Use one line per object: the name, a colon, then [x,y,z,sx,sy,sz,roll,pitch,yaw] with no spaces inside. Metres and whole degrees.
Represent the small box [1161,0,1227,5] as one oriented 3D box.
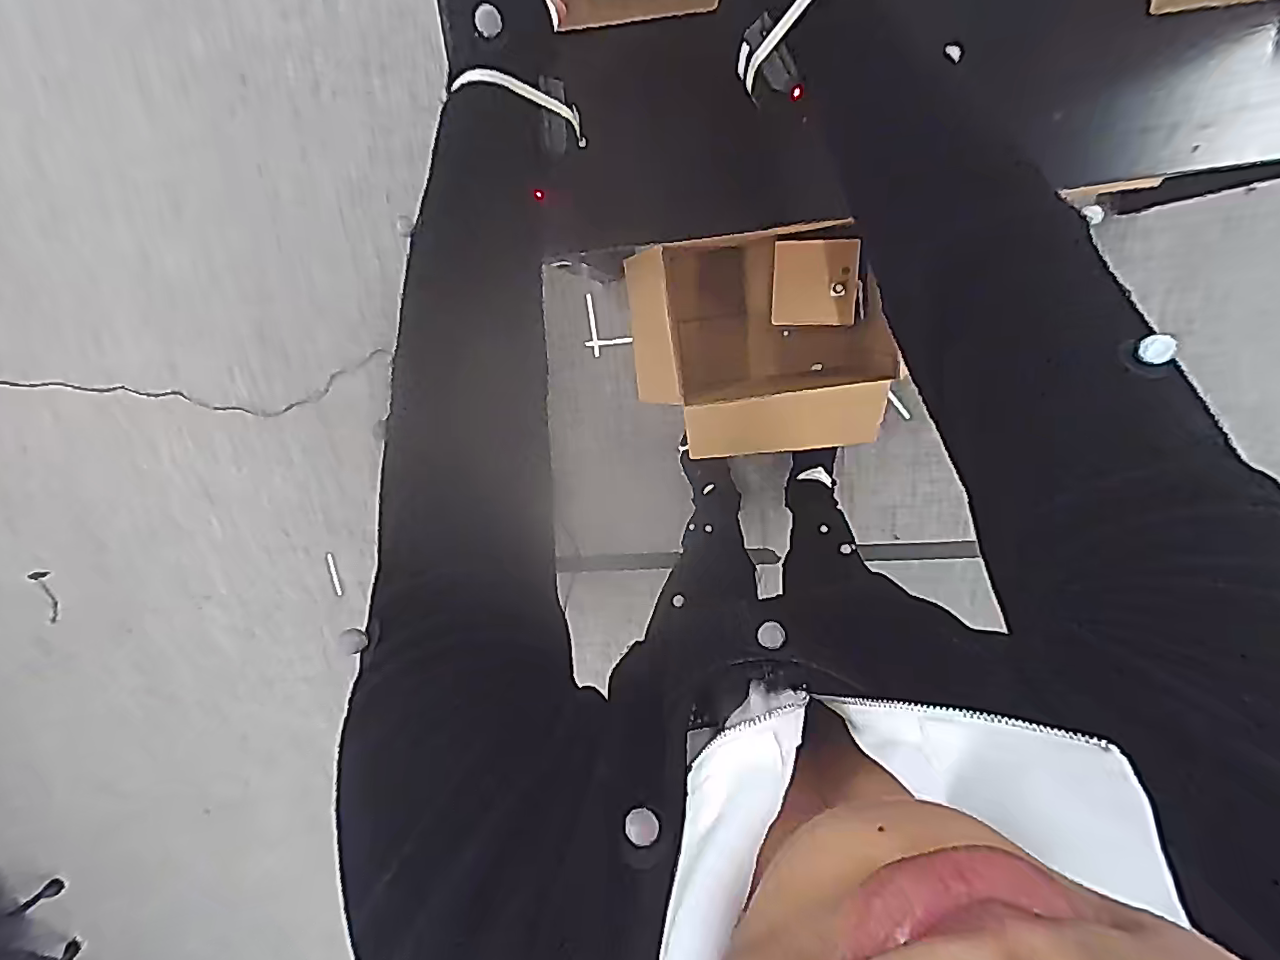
small box: [0.536,-0.485,0.385,0.179,0.176,0.168,-3,107,6]
